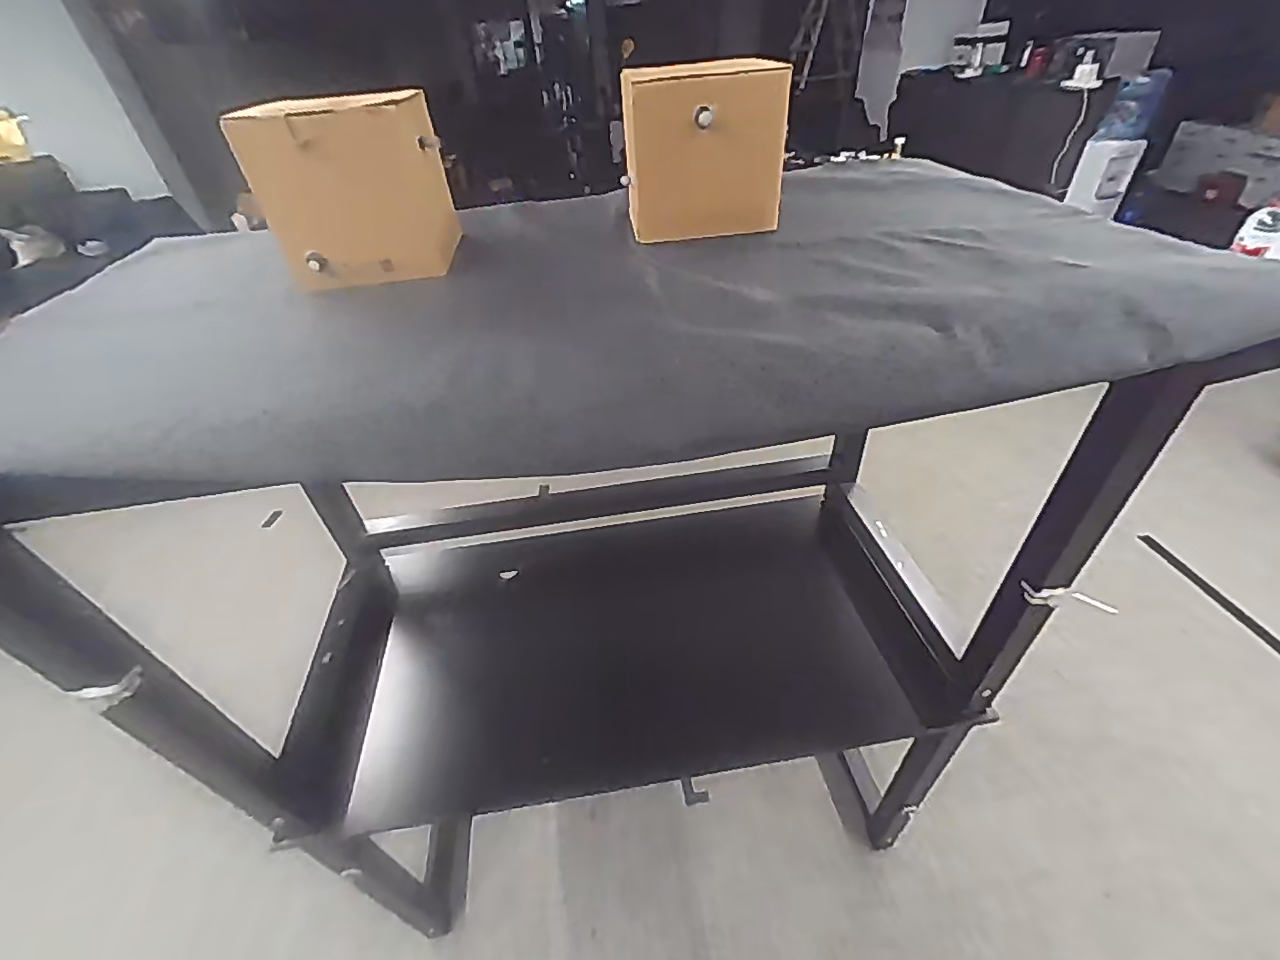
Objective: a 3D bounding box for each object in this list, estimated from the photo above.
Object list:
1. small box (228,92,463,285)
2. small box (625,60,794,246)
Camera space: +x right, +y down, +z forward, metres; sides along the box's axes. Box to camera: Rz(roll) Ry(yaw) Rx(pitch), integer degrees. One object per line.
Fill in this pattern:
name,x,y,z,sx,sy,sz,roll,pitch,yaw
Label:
small box,-0.318,-0.337,0.634,0.168,0.176,0.179,-8,39,-4
small box,0.077,-0.410,0.679,0.179,0.176,0.168,-7,40,0
